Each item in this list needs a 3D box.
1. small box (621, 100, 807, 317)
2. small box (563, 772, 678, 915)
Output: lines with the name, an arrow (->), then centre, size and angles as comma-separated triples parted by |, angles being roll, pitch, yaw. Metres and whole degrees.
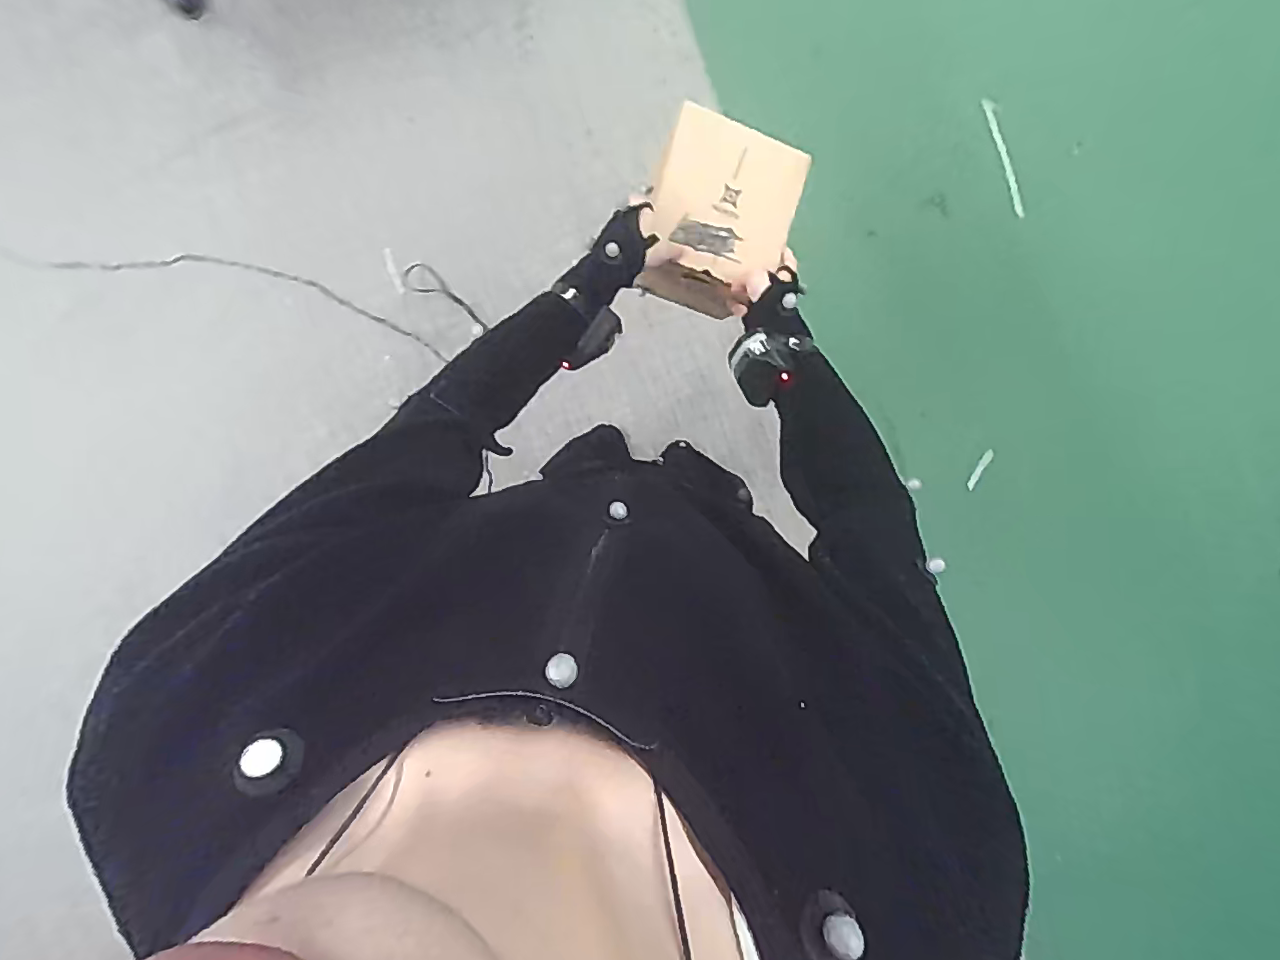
small box -> 0.081, -0.327, 0.698 | 0.168, 0.176, 0.179 | 16, 93, -13
small box -> -0.032, 0.706, 1.036 | 0.168, 0.176, 0.179 | -21, 91, 3
